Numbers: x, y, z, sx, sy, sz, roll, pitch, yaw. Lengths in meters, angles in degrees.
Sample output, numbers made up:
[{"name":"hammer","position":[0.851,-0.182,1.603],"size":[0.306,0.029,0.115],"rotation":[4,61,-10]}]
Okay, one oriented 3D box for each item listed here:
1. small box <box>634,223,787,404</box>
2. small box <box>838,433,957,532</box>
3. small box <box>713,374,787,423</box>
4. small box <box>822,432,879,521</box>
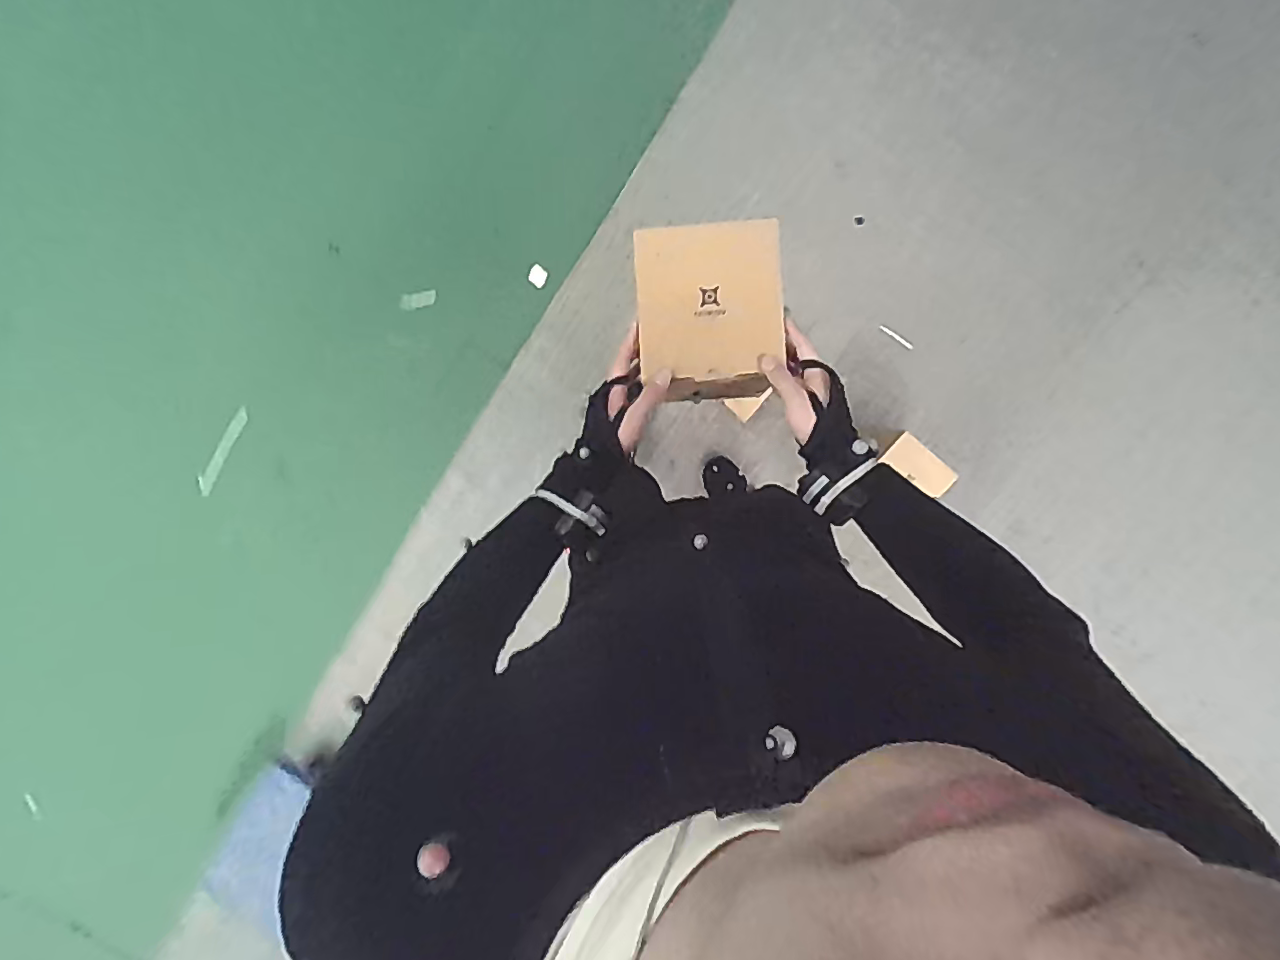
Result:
[{"name":"small box","position":[0.080,-0.199,0.691],"size":[0.168,0.176,0.179],"rotation":[-5,91,2]},{"name":"small box","position":[0.622,-0.003,1.334],"size":[0.168,0.176,0.179],"rotation":[42,99,0]},{"name":"small box","position":[0.278,-0.278,1.509],"size":[0.168,0.176,0.179],"rotation":[40,98,-2]},{"name":"small box","position":[0.629,-0.017,1.498],"size":[0.168,0.176,0.179],"rotation":[37,100,-1]}]
